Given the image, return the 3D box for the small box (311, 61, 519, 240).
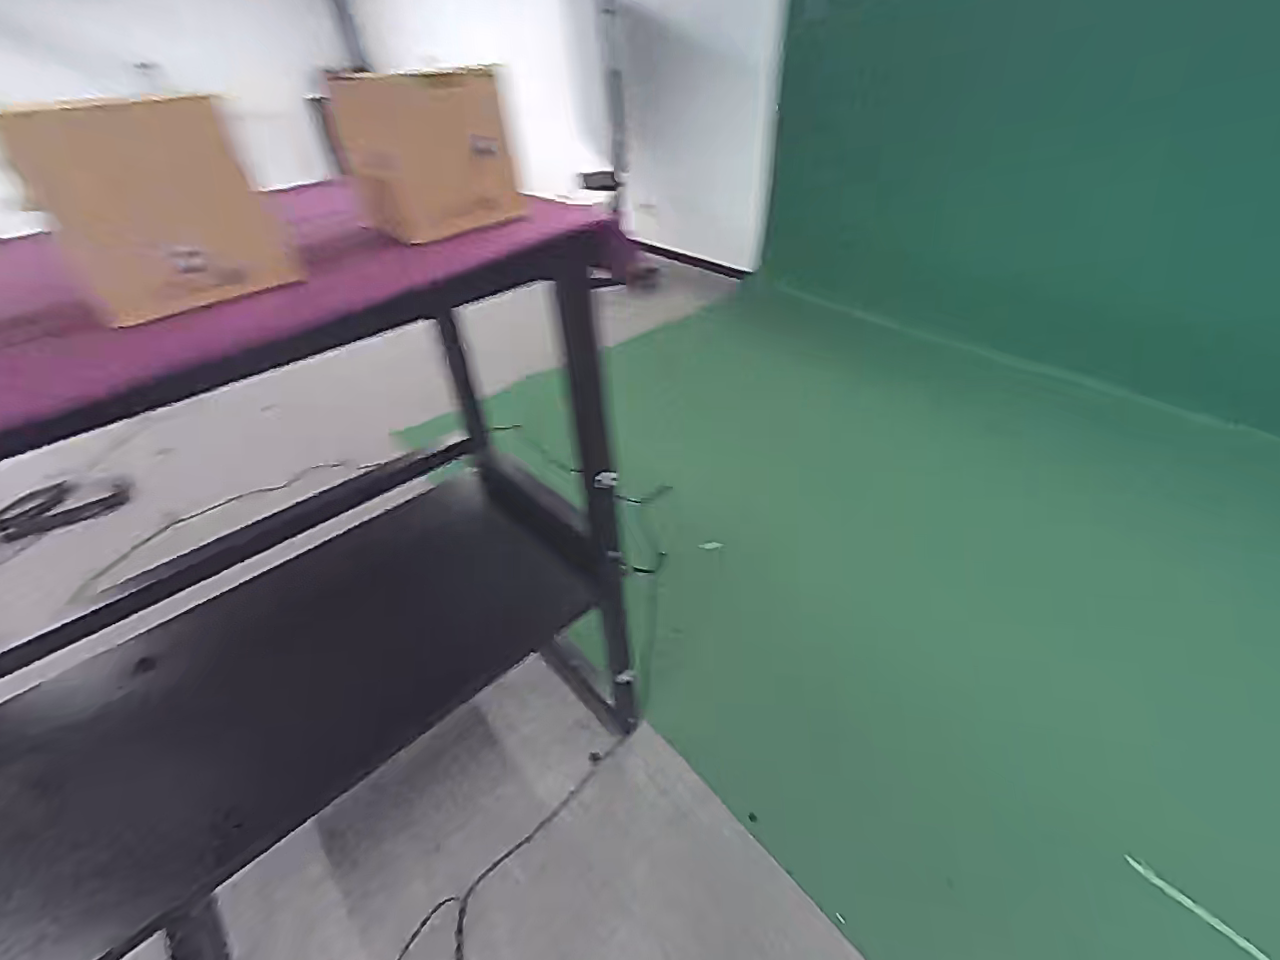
[{"bbox_3d":[-0.277,-0.420,0.691,0.168,0.176,0.179,-31,46,-29],"label":"small box"}]
